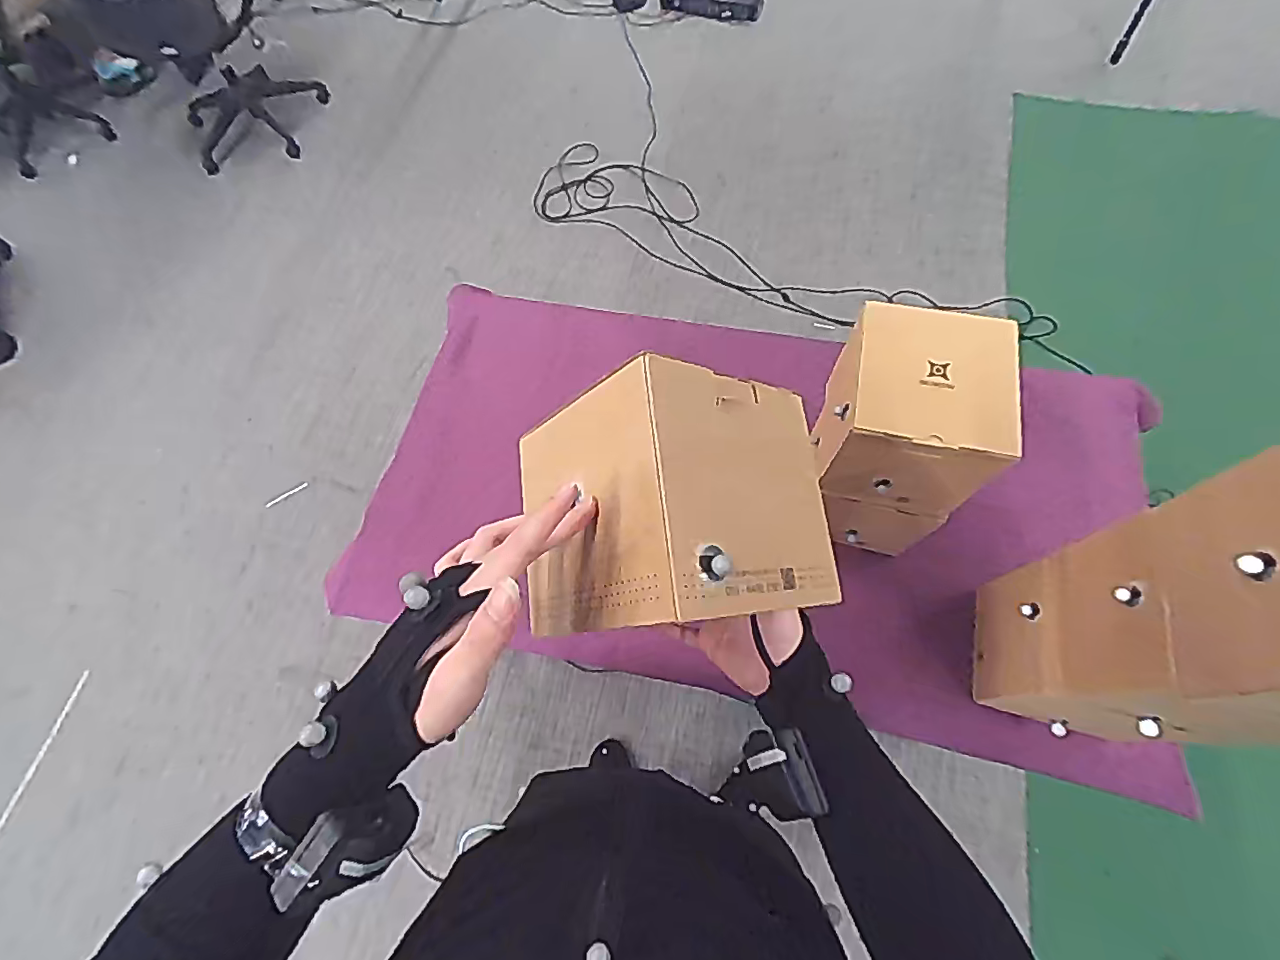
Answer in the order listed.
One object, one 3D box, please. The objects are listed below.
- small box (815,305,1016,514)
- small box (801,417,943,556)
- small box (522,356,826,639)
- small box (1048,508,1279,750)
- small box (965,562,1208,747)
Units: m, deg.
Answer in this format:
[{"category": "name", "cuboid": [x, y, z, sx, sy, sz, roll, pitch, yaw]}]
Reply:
[{"category": "small box", "cuboid": [0.321, -0.078, 0.658, 0.168, 0.176, 0.179, 12, 69, 8]}, {"category": "small box", "cuboid": [0.334, -0.007, 0.803, 0.168, 0.176, 0.179, 14, 68, 10]}, {"category": "small box", "cuboid": [0.021, 0.028, 0.432, 0.168, 0.179, 0.176, 6, 70, -38]}, {"category": "small box", "cuboid": [0.546, 0.153, 0.542, 0.168, 0.176, 0.179, 14, 67, 11]}, {"category": "small box", "cuboid": [0.552, 0.224, 0.690, 0.179, 0.176, 0.168, 14, 67, 10]}]
